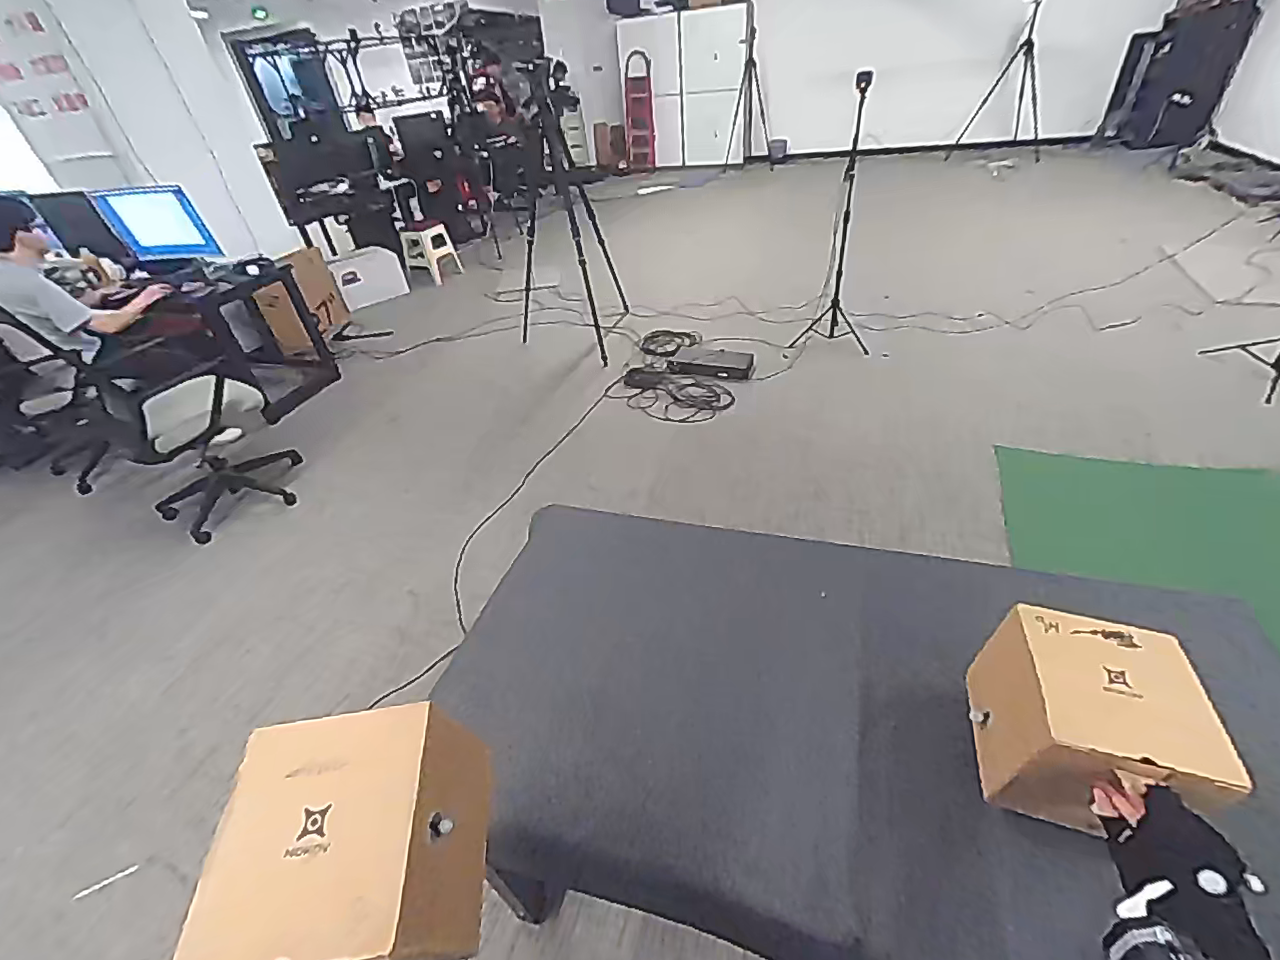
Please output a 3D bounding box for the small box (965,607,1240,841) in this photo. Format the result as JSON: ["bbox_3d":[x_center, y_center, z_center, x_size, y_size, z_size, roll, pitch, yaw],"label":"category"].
[{"bbox_3d":[0.506,0.283,0.630,0.168,0.176,0.179,11,42,13],"label":"small box"}]

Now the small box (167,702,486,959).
[{"bbox_3d":[-0.247,0.323,0.481,0.168,0.176,0.179,-9,48,1],"label":"small box"}]
